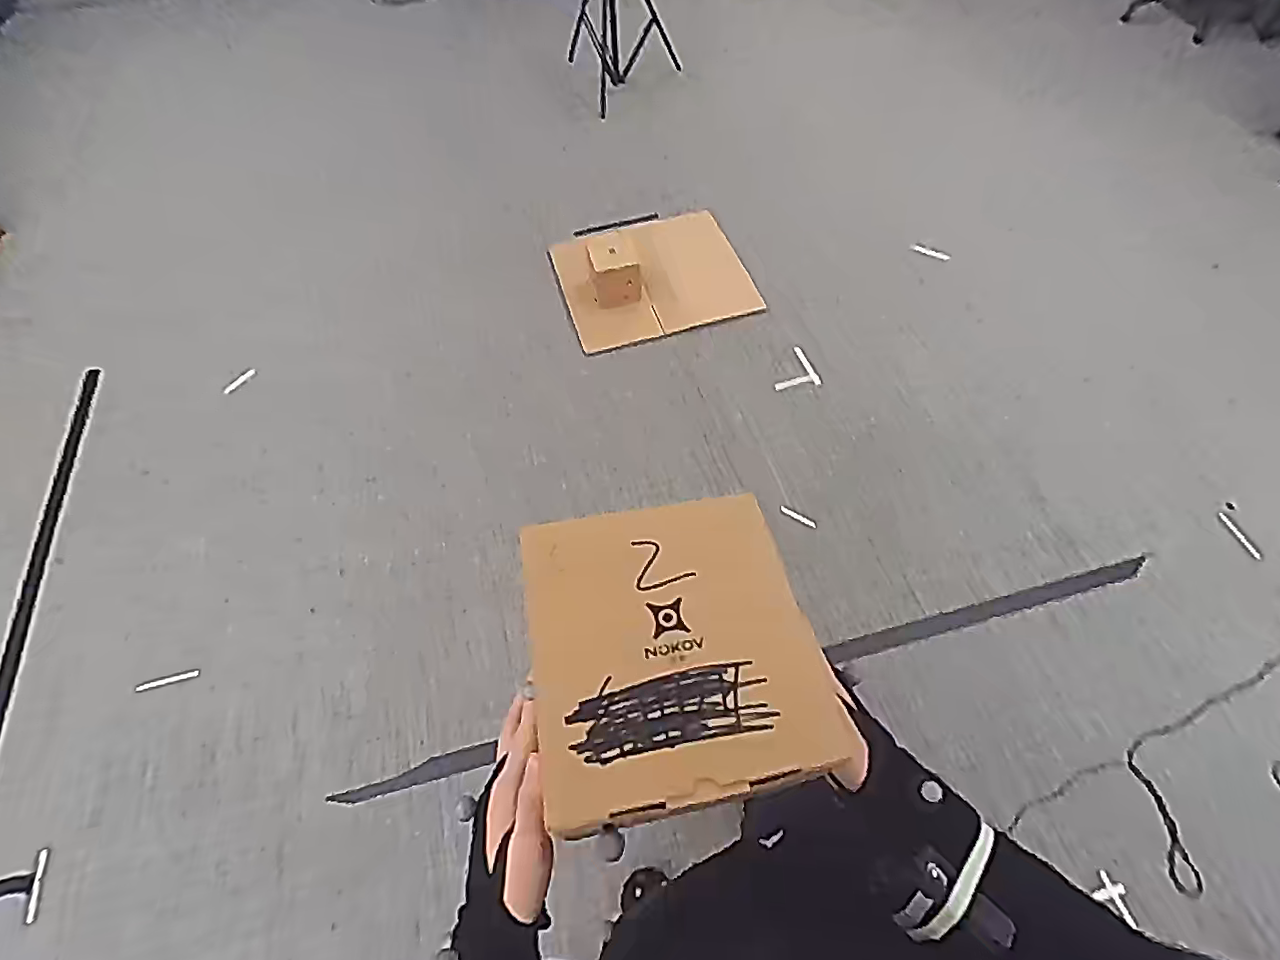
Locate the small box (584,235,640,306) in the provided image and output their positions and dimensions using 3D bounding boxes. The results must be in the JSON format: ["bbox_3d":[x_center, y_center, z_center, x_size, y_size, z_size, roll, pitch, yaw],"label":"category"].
[{"bbox_3d":[-0.099,-0.759,1.983,0.168,0.176,0.179,-14,61,-8],"label":"small box"}]
